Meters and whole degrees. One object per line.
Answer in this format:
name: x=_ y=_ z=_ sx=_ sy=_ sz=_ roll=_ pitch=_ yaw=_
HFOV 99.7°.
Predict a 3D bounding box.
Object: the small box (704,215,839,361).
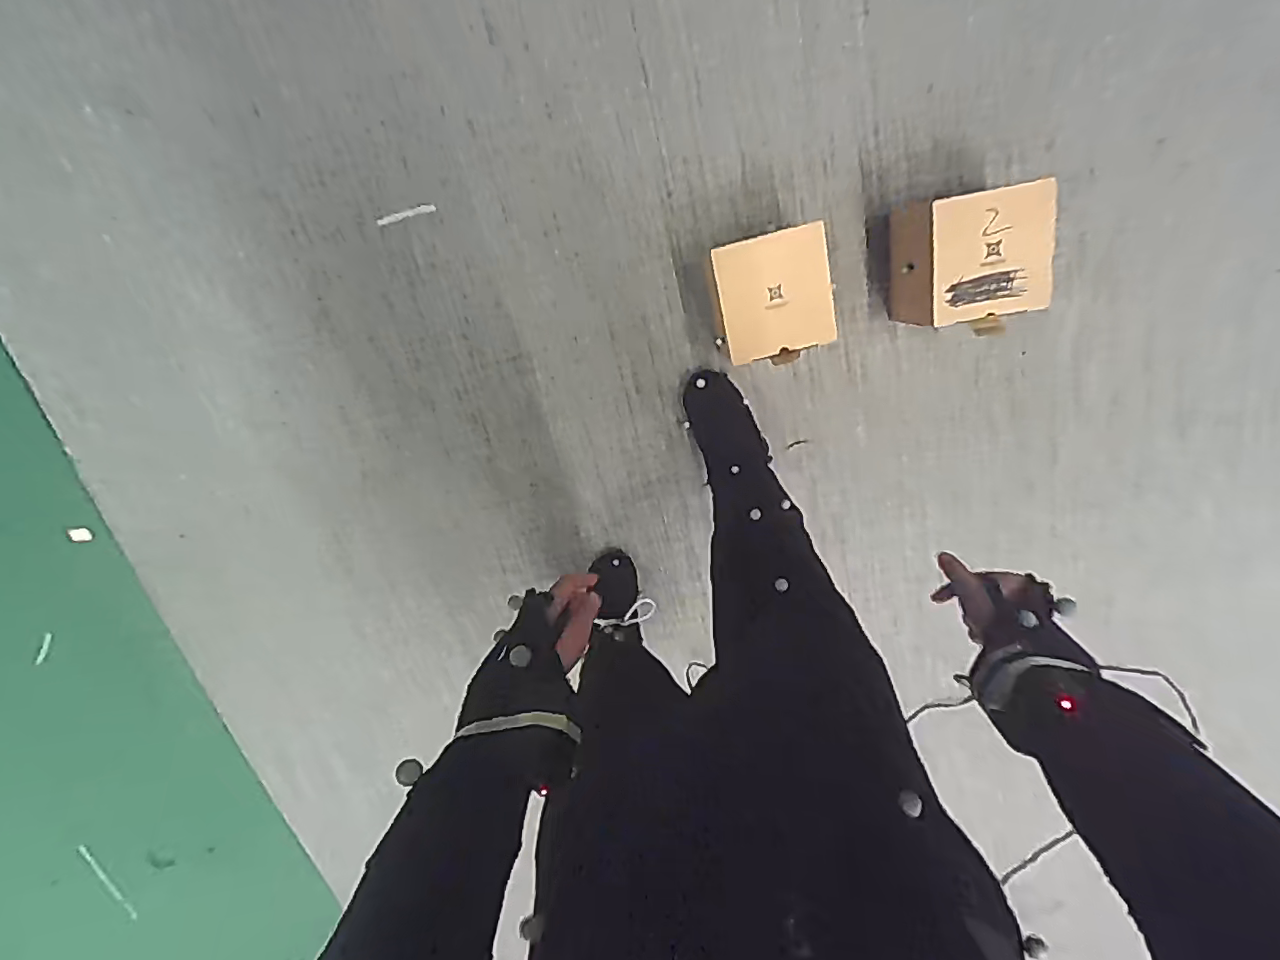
small box: x=0.202 y=-0.302 z=0.866 sx=0.168 sy=0.176 sz=0.179 roll=-12 pitch=109 yaw=7
